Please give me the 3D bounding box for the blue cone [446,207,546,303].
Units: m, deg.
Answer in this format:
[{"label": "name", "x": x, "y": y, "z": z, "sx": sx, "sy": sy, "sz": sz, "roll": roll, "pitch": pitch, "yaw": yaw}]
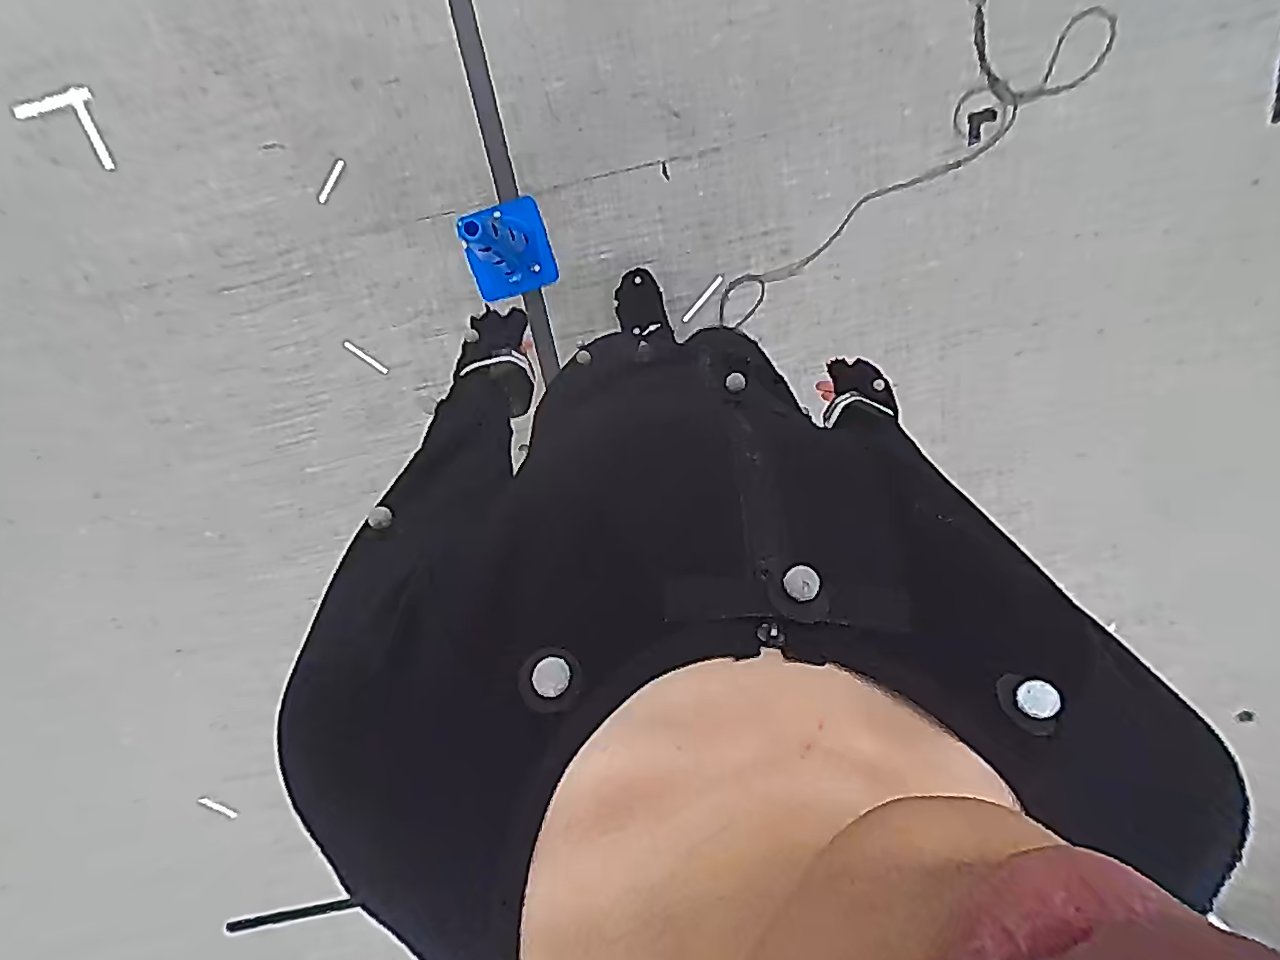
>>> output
[{"label": "blue cone", "x": -0.327, "y": -0.494, "z": 1.141, "sx": 0.192, "sy": 0.380, "sz": 0.193, "roll": -15, "pitch": 107, "yaw": 2}]
